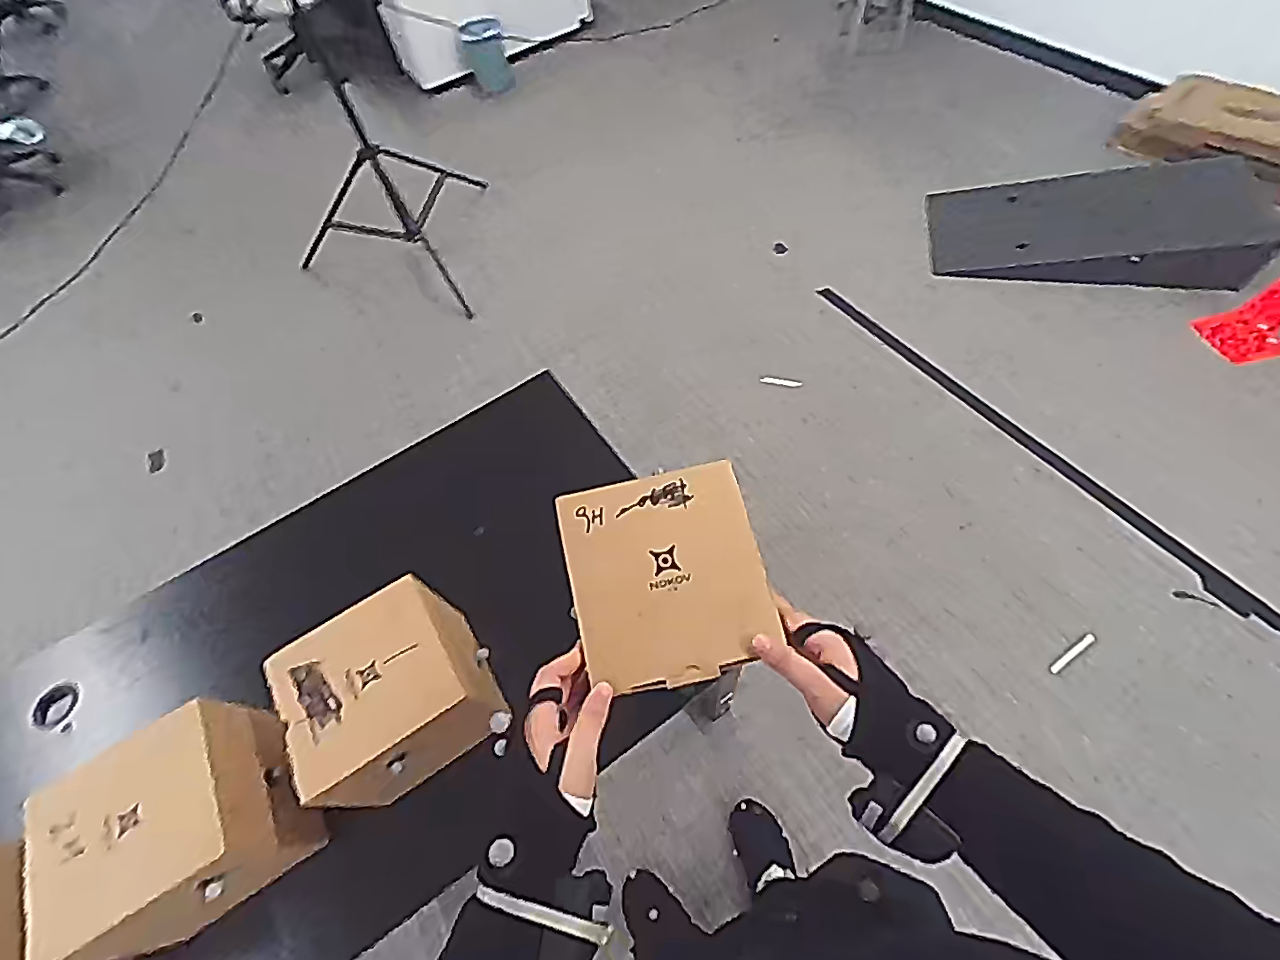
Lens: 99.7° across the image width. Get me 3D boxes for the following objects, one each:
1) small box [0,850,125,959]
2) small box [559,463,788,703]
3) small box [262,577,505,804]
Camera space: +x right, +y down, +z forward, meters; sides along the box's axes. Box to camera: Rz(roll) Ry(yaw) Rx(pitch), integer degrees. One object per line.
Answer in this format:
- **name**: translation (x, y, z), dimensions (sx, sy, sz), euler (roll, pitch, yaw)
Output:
- **small box**: translation (-0.662, 0.497, 0.528), dimensions (0.168, 0.176, 0.179), euler (-34, 62, -12)
- **small box**: translation (0.025, 0.104, 0.531), dimensions (0.168, 0.176, 0.179), euler (-12, 72, -4)
- **small box**: translation (-0.287, 0.250, 0.632), dimensions (0.179, 0.176, 0.168), euler (-31, 61, -13)
